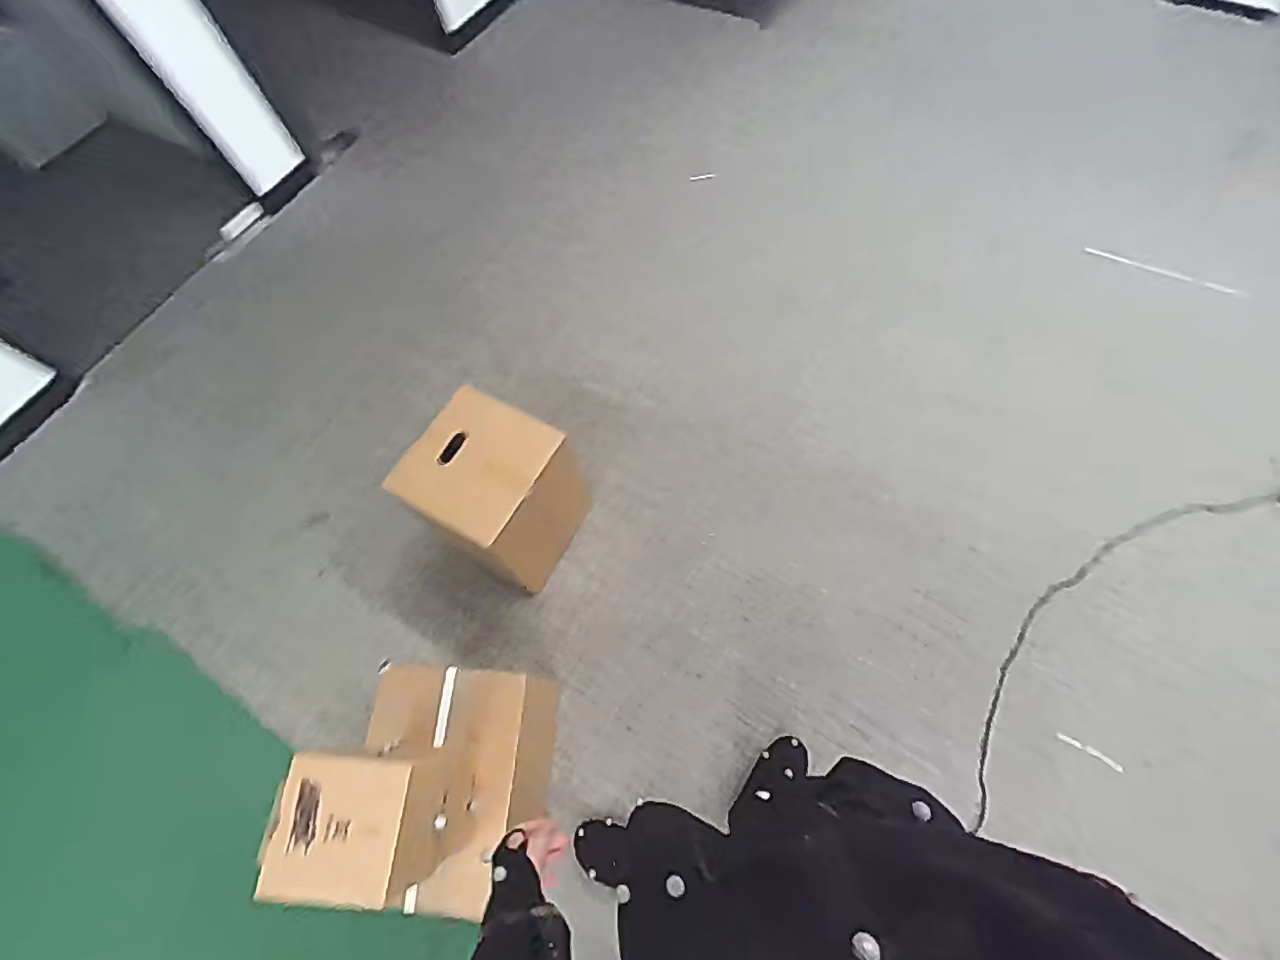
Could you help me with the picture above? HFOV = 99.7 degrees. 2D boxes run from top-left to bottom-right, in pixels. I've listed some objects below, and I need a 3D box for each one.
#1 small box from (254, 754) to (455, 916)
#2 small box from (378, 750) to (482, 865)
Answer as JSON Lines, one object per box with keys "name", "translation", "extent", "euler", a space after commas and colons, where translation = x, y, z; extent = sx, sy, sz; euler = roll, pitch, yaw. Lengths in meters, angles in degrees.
{"name": "small box", "translation": [-0.395, 0.498, 0.784], "extent": [0.179, 0.176, 0.168], "euler": [1, 67, 5]}
{"name": "small box", "translation": [-0.394, 0.565, 0.935], "extent": [0.179, 0.176, 0.168], "euler": [-3, 66, 3]}
